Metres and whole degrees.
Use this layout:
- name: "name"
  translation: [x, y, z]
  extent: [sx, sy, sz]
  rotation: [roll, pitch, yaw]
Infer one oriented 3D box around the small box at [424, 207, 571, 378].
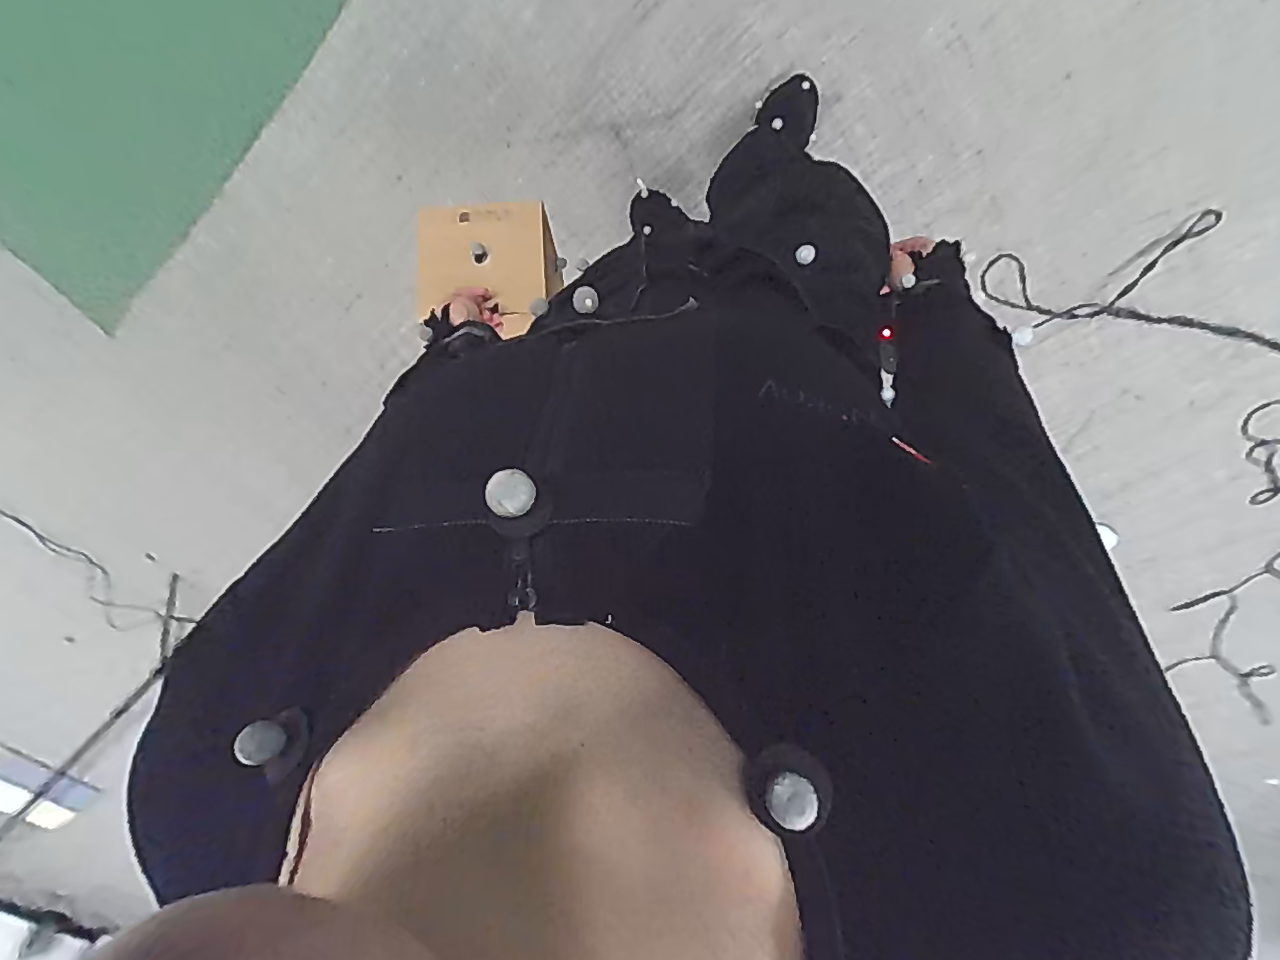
- name: "small box"
  translation: [-0.199, -0.267, 0.777]
  extent: [0.168, 0.176, 0.179]
  rotation: [-6, 167, 1]
